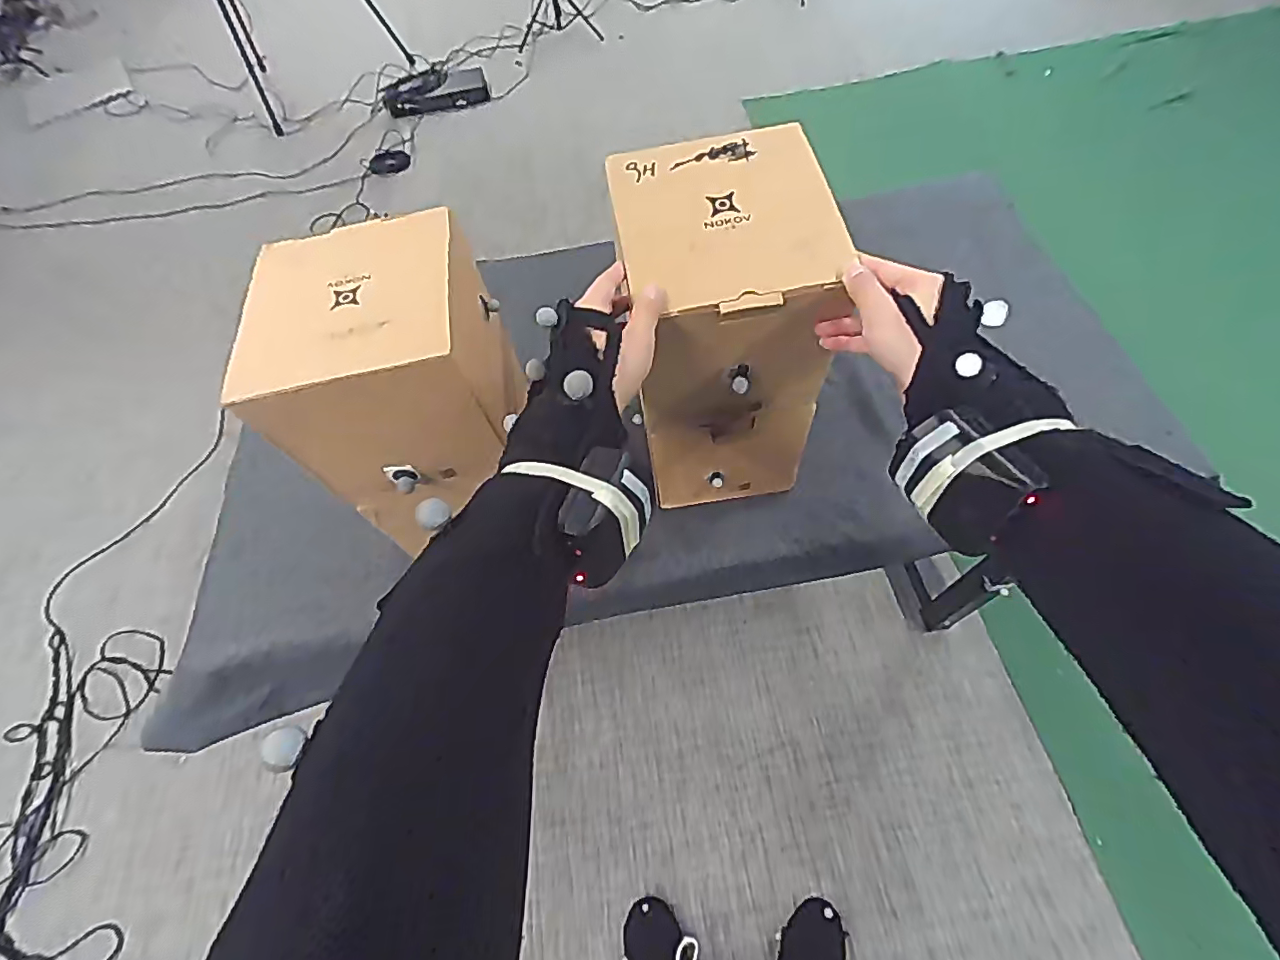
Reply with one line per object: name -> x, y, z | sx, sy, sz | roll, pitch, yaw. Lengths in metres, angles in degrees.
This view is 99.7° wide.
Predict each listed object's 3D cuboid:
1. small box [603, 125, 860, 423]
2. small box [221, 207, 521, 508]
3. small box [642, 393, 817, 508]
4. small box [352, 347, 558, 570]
small box -> 0.068, -0.165, 0.479 | 0.168, 0.176, 0.179 | -10, 66, 0
small box -> -0.214, -0.100, 0.479 | 0.168, 0.176, 0.179 | -14, 60, 0
small box -> 0.086, -0.090, 0.631 | 0.168, 0.176, 0.179 | -9, 60, 1
small box -> -0.198, -0.019, 0.619 | 0.168, 0.176, 0.179 | -12, 60, -1
